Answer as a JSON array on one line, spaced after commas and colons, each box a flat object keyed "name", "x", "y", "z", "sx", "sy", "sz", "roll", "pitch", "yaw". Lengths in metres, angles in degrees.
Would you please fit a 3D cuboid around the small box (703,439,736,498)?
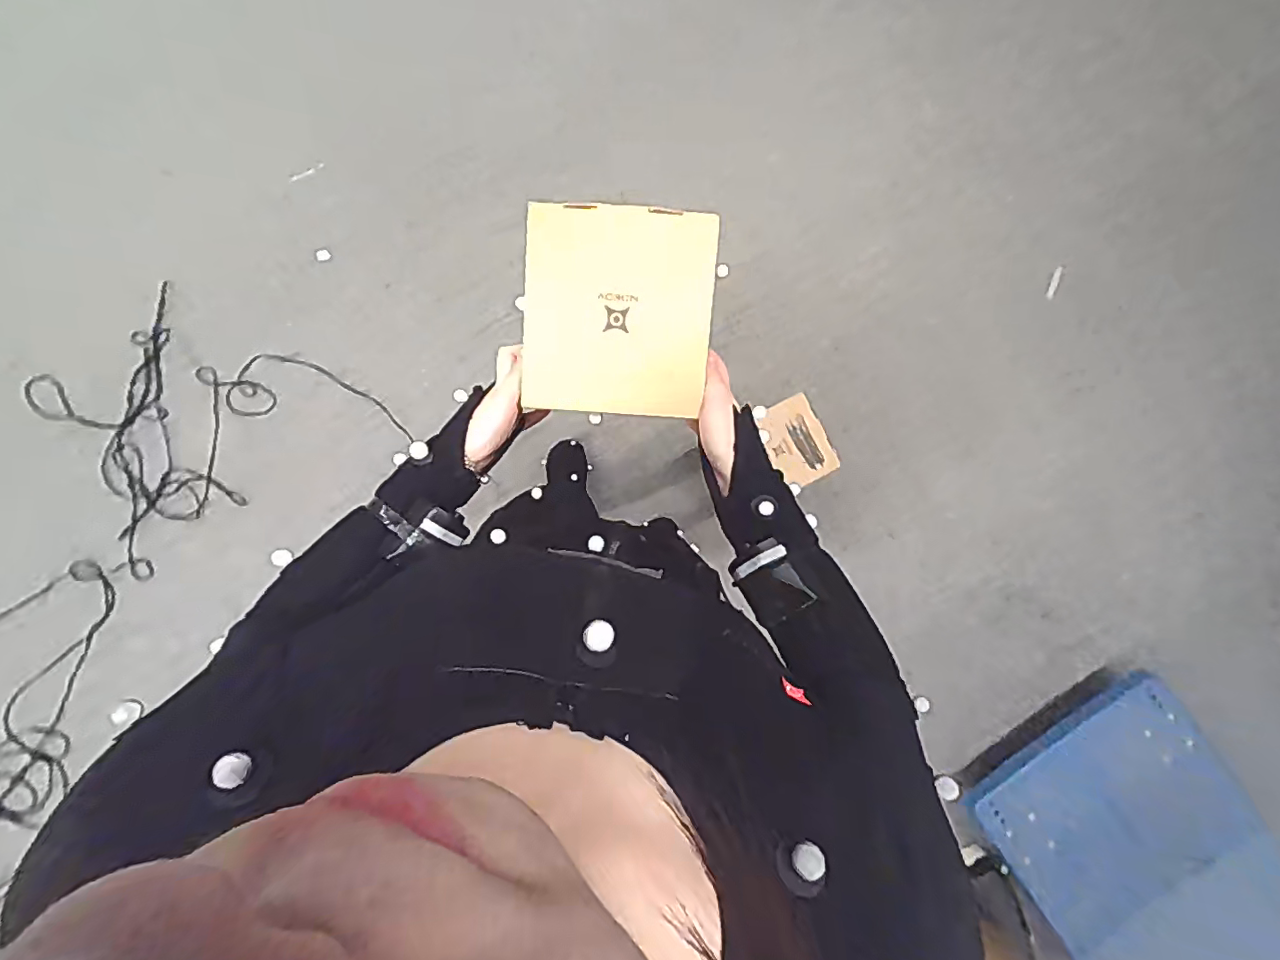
[{"name": "small box", "x": 0.278, "y": -0.061, "z": 1.439, "sx": 0.179, "sy": 0.176, "sz": 0.168, "roll": -27, "pitch": 90, "yaw": -2}]

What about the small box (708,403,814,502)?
[{"name": "small box", "x": 0.276, "y": -0.059, "z": 1.275, "sx": 0.168, "sy": 0.176, "sz": 0.179, "roll": -27, "pitch": 90, "yaw": 0}]

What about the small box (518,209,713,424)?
[{"name": "small box", "x": -0.021, "y": -0.153, "z": 0.550, "sx": 0.168, "sy": 0.176, "sz": 0.179, "roll": 3, "pitch": 99, "yaw": 1}]
